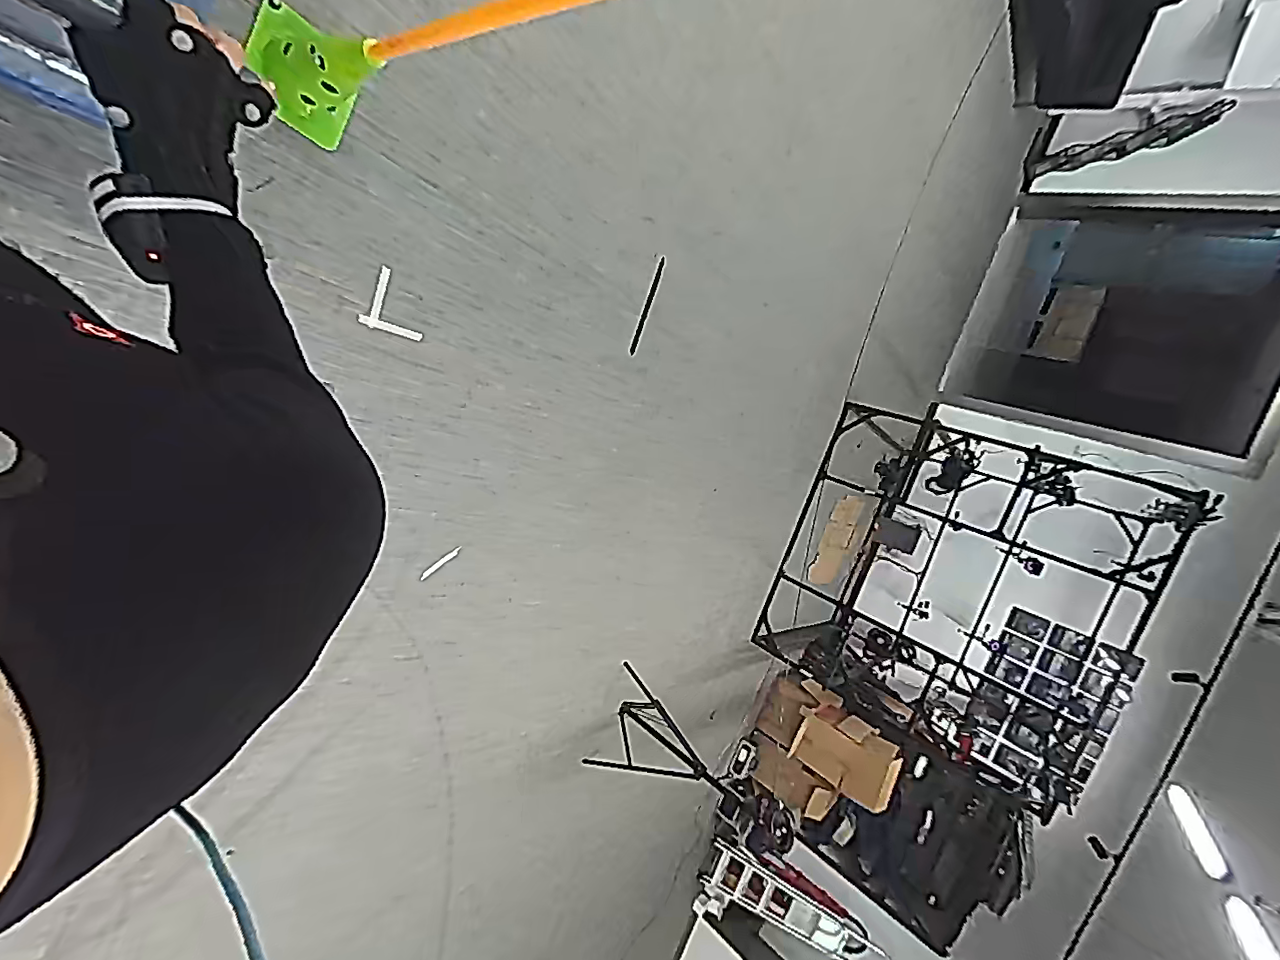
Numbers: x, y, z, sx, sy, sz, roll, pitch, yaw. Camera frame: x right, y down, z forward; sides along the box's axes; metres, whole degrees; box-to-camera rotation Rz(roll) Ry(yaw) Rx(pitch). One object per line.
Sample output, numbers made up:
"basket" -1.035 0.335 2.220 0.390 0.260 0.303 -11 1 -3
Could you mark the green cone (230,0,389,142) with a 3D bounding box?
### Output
"green cone" -0.590 -0.801 1.033 0.202 0.368 0.200 19 95 -55
